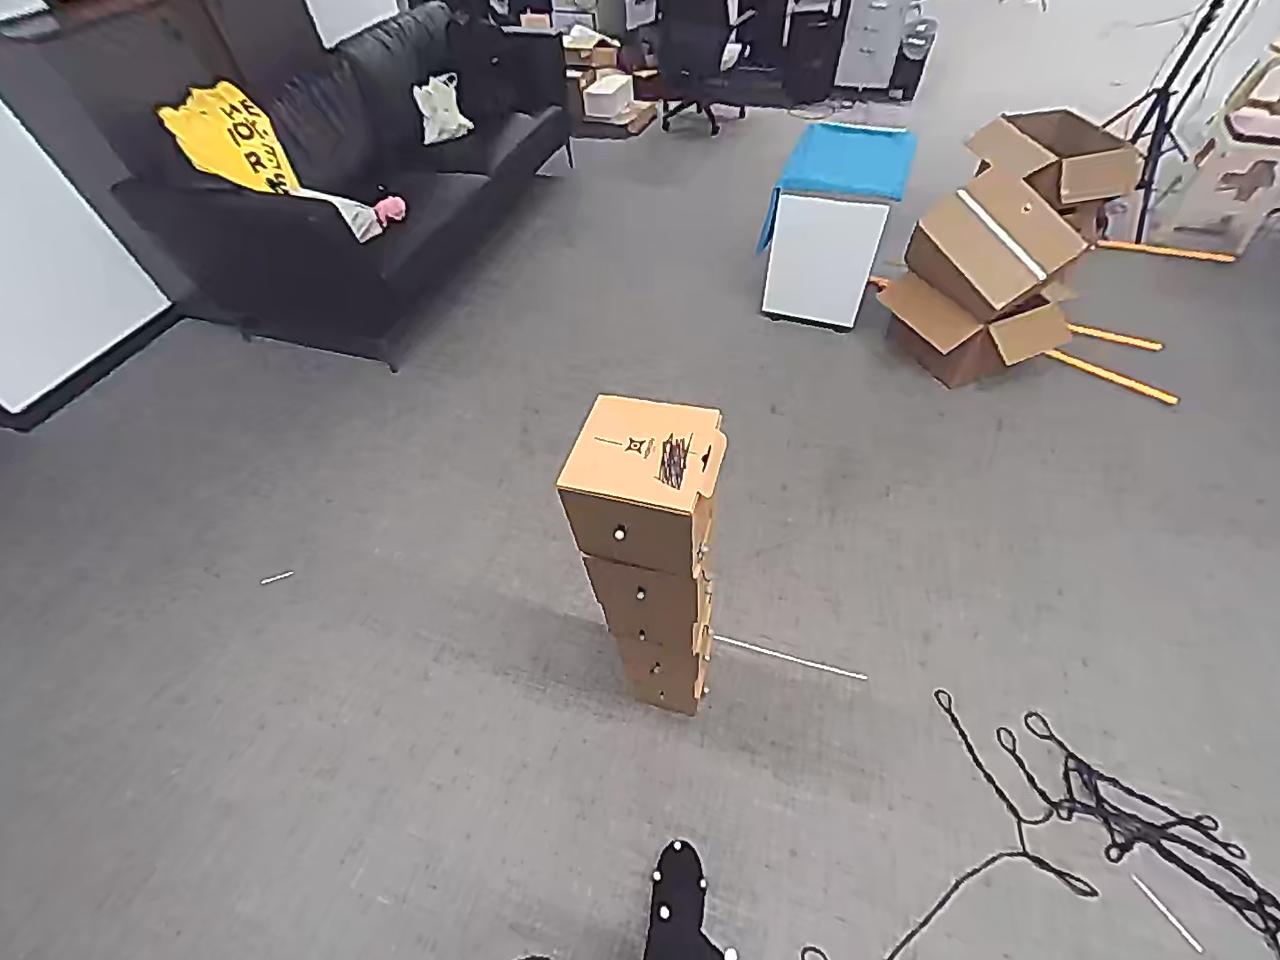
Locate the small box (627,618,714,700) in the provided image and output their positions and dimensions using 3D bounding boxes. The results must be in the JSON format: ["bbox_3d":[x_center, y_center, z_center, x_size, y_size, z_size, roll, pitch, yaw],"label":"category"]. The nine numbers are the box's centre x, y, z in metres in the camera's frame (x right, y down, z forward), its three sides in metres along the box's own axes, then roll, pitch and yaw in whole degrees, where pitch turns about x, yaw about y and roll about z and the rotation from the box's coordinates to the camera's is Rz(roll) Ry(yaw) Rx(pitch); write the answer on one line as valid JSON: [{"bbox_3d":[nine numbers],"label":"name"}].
[{"bbox_3d":[0.072,0.399,1.277,0.179,0.176,0.168,11,54,14],"label":"small box"}]

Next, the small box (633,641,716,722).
[{"bbox_3d":[0.092,0.505,1.401,0.179,0.176,0.168,12,53,13],"label":"small box"}]

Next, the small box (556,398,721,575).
[{"bbox_3d":[0.009,0.013,0.752,0.179,0.176,0.168,10,54,15],"label":"small box"}]

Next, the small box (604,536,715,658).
[{"bbox_3d":[0.042,0.208,1.015,0.168,0.176,0.179,9,54,13],"label":"small box"}]

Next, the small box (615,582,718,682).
[{"bbox_3d":[0.060,0.309,1.141,0.179,0.176,0.168,10,53,12],"label":"small box"}]
